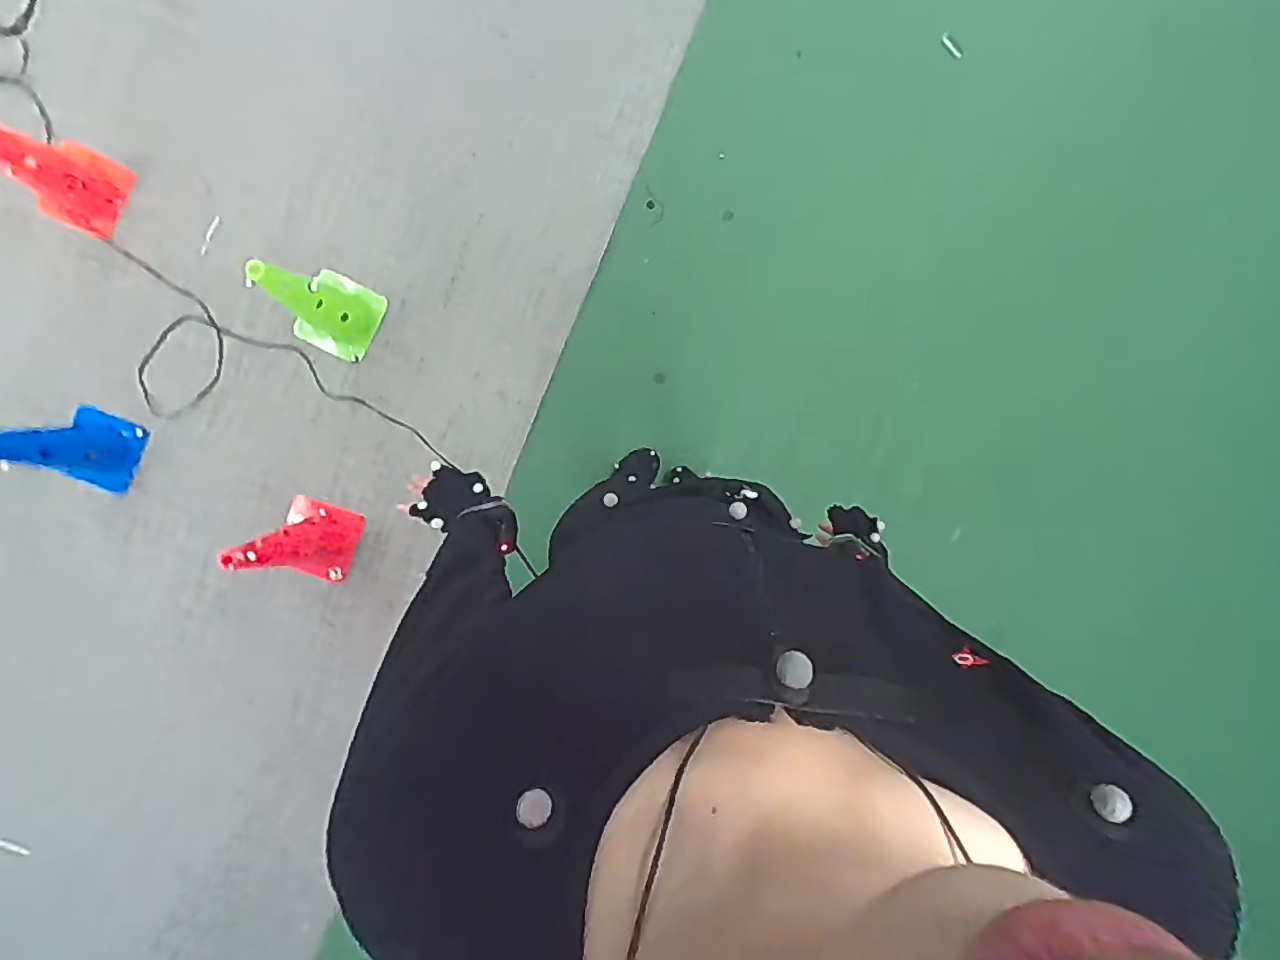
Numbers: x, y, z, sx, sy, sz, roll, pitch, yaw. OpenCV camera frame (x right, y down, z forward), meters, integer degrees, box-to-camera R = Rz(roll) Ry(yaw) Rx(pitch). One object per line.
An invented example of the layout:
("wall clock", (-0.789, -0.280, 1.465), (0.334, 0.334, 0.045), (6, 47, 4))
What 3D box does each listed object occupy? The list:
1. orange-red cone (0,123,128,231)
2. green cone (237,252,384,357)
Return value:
("orange-red cone", (-1.466, -0.772, 1.255), (0.199, 0.360, 0.198), (27, 91, -4))
("green cone", (-0.809, -0.453, 1.288), (0.202, 0.368, 0.200), (25, 90, -2))
